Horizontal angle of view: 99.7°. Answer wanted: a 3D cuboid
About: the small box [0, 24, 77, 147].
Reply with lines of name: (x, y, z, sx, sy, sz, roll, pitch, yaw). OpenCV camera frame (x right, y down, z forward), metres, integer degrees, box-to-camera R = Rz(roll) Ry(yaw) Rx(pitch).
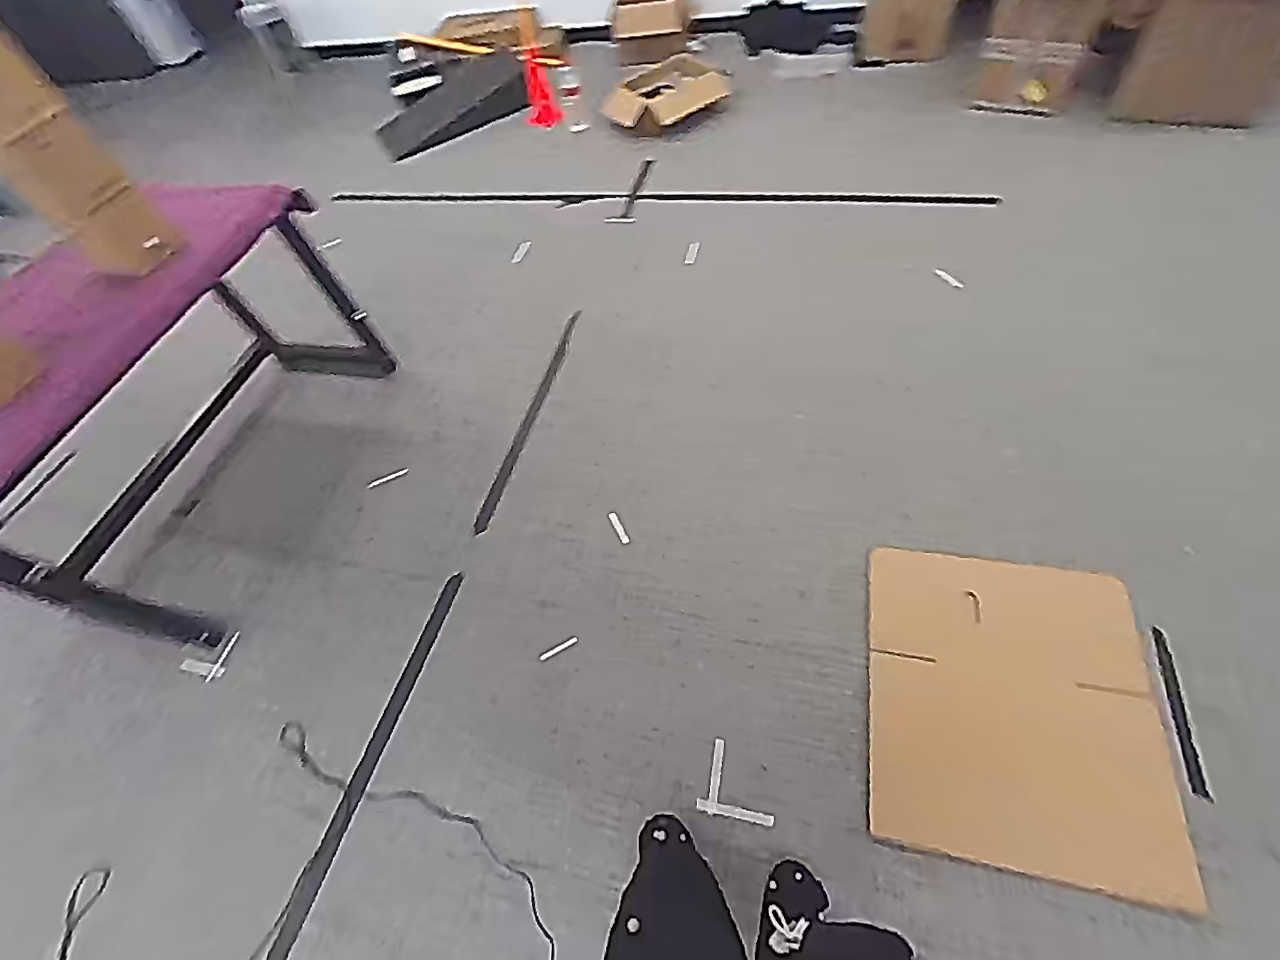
small box: (-1.385, -0.833, 1.150, 0.179, 0.176, 0.168, 13, 61, 17)

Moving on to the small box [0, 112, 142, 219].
small box: (-1.369, -0.746, 1.287, 0.179, 0.176, 0.168, 13, 61, 18)

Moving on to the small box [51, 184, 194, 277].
small box: (-1.351, -0.658, 1.424, 0.179, 0.176, 0.168, 11, 60, 16)
